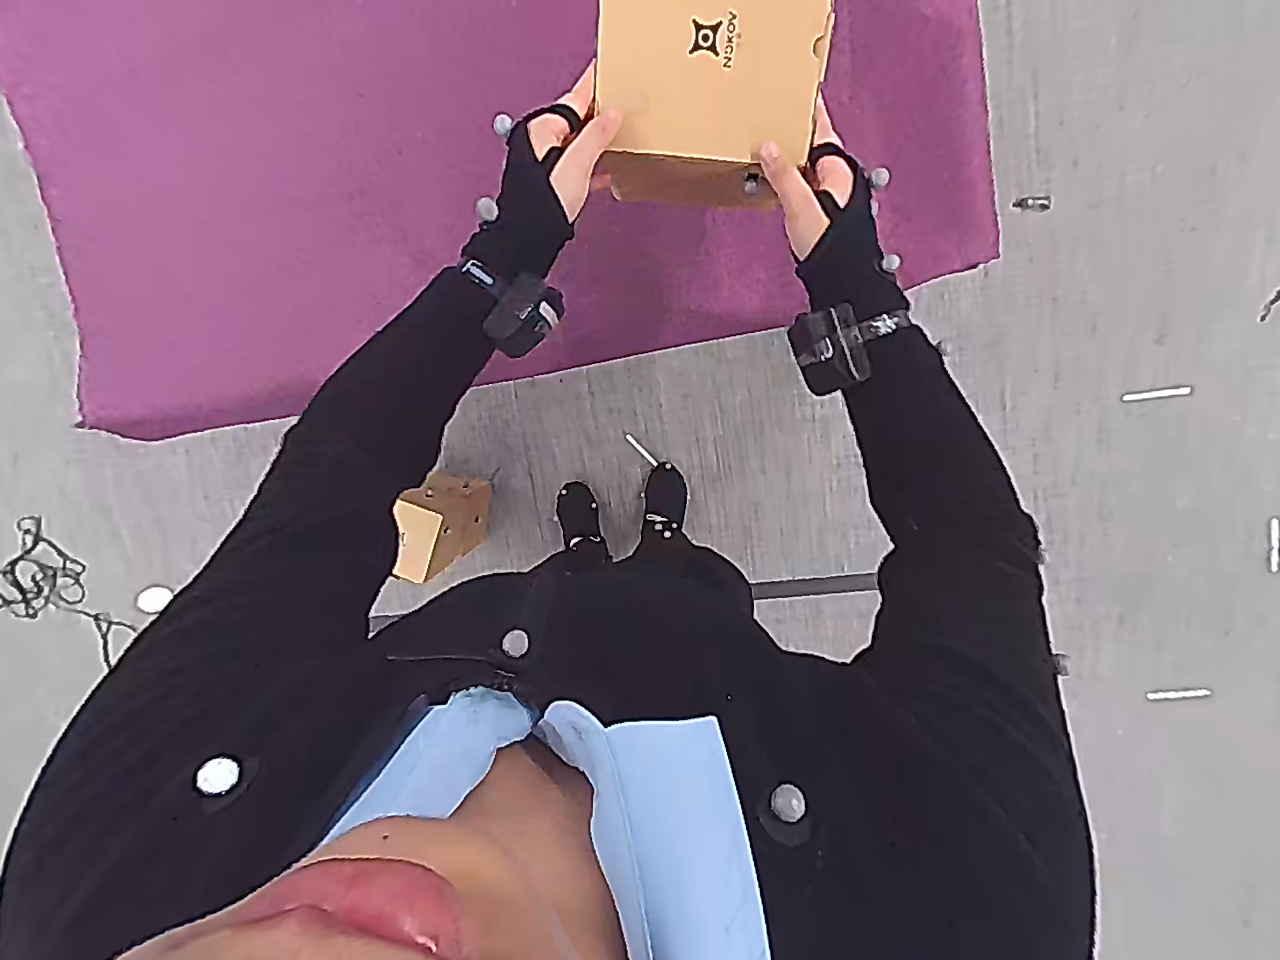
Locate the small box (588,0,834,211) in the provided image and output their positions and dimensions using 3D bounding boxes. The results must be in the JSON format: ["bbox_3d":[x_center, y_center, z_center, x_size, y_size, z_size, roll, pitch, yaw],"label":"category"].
[{"bbox_3d":[0.056,-0.349,0.480,0.179,0.176,0.168,5,106,1],"label":"small box"}]

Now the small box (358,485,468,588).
[{"bbox_3d":[-0.528,0.125,1.283,0.168,0.176,0.179,20,100,1],"label":"small box"}]
